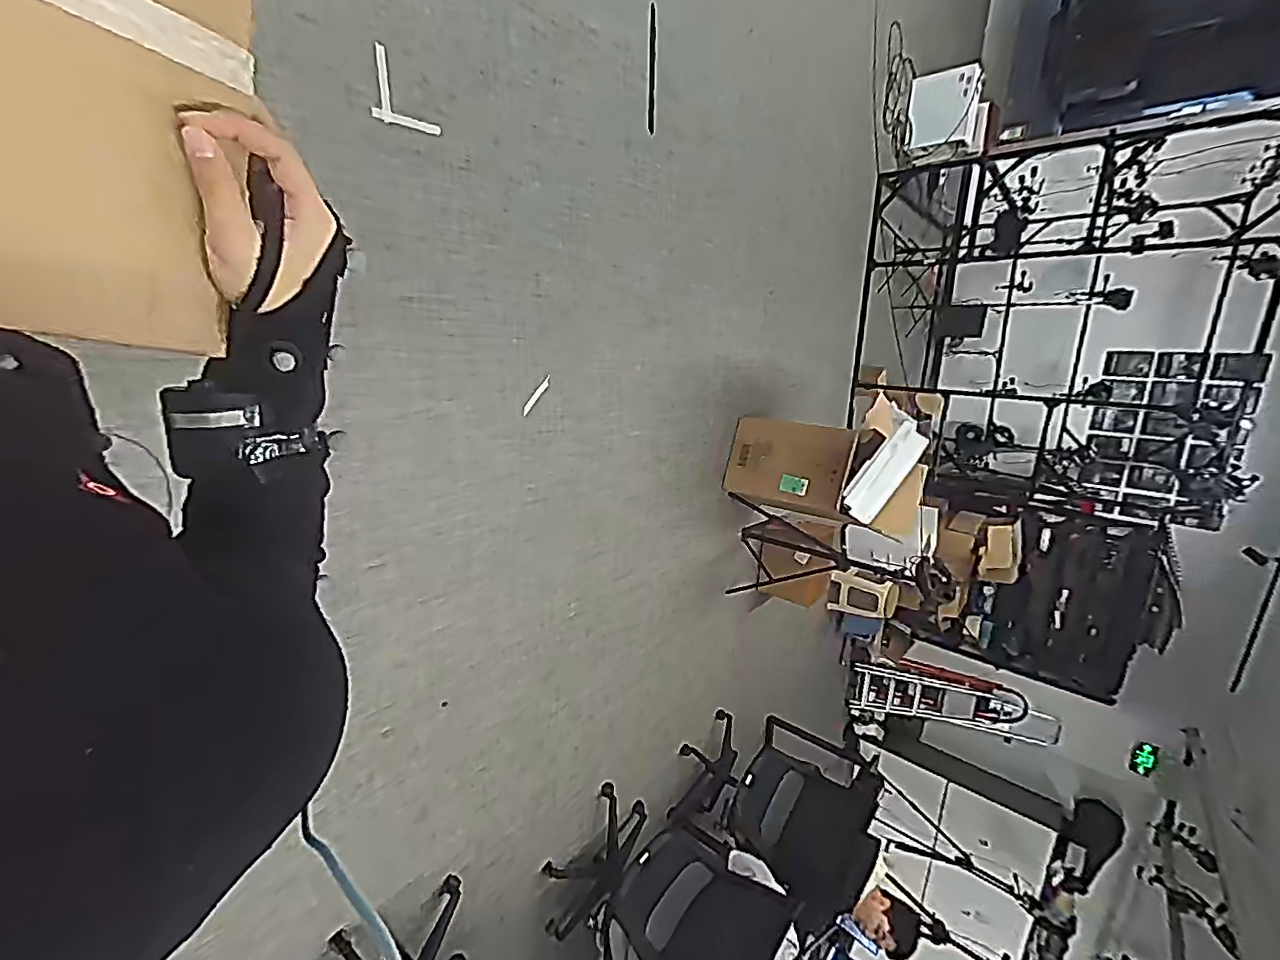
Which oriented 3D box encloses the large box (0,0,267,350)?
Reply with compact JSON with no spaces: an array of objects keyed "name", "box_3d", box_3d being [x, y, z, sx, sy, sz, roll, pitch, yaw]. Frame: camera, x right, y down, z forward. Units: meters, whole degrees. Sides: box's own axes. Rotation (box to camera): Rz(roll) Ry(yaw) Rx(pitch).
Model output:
[{"name":"large box","box_3d":[-0.456,-0.266,0.243,0.408,0.320,0.320,-2,111,-52]}]
